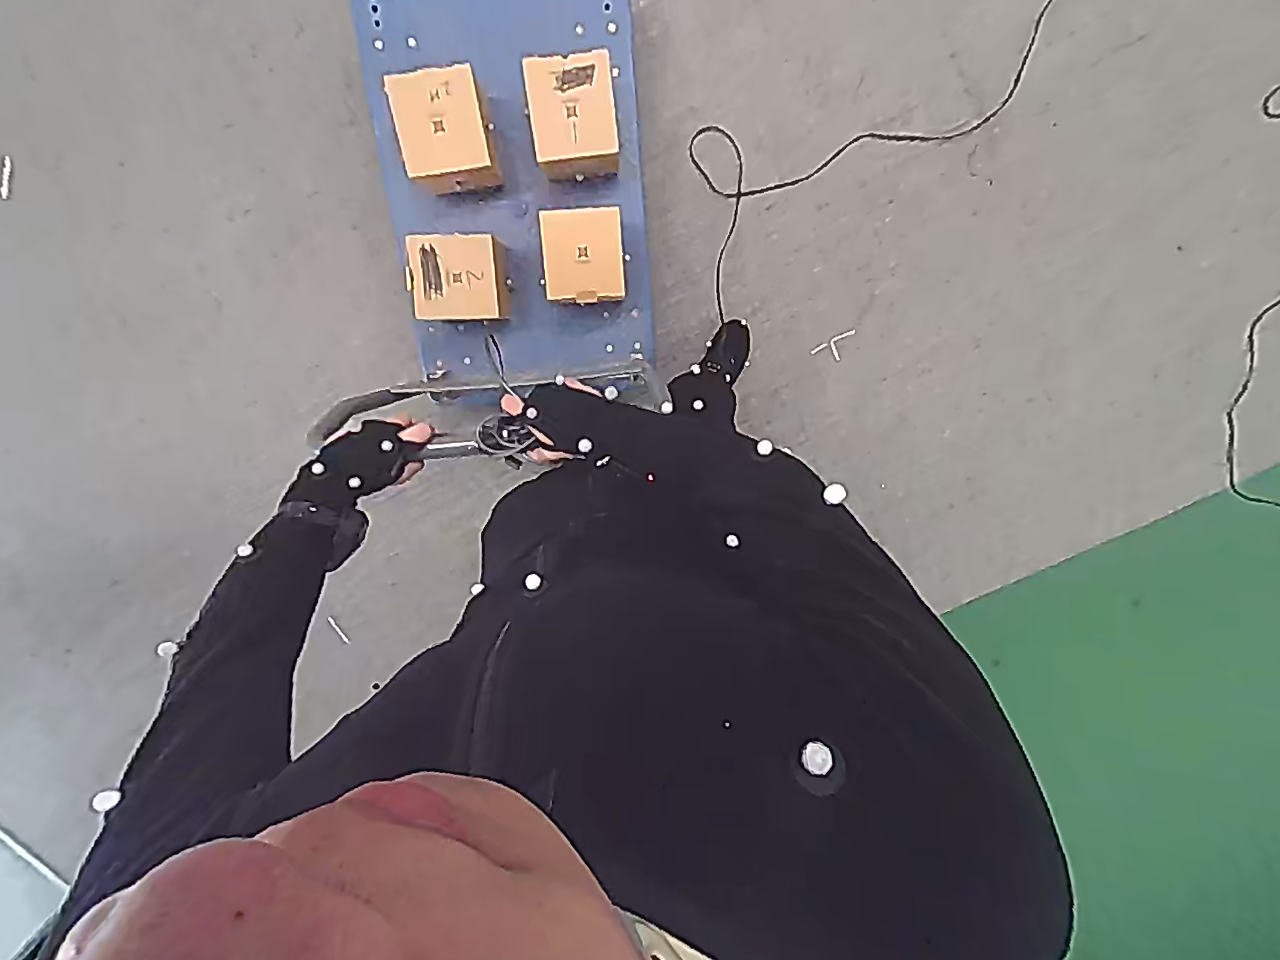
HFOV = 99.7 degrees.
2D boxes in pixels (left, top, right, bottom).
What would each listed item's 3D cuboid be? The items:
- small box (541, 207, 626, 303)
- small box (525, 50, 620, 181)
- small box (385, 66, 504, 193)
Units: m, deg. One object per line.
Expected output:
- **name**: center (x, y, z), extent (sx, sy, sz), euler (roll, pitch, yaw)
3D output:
- **small box**: center (-0.120, -0.487, 1.191), extent (0.168, 0.176, 0.179), euler (-4, 108, -1)
- **small box**: center (-0.132, -0.737, 1.111), extent (0.168, 0.176, 0.179), euler (-7, 108, 0)
- **small box**: center (-0.388, -0.705, 1.109), extent (0.168, 0.176, 0.179), euler (-9, 107, -1)
